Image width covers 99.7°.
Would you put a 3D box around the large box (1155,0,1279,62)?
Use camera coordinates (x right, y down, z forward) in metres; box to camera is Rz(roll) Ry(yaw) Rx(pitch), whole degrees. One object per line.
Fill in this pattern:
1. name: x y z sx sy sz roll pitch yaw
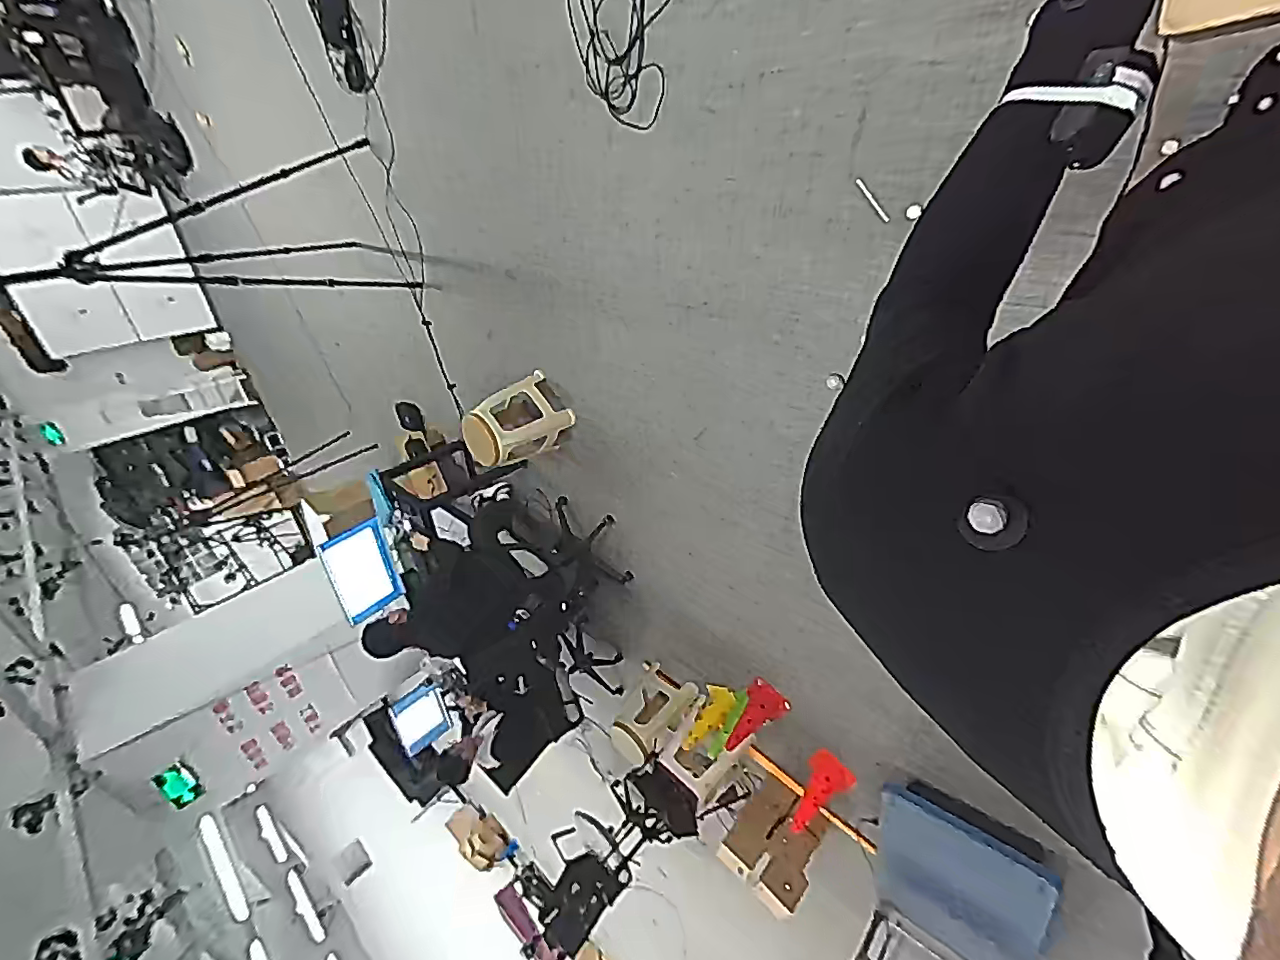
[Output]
1. large box: 0.593 -0.484 0.300 0.408 0.320 0.320 14 127 40
